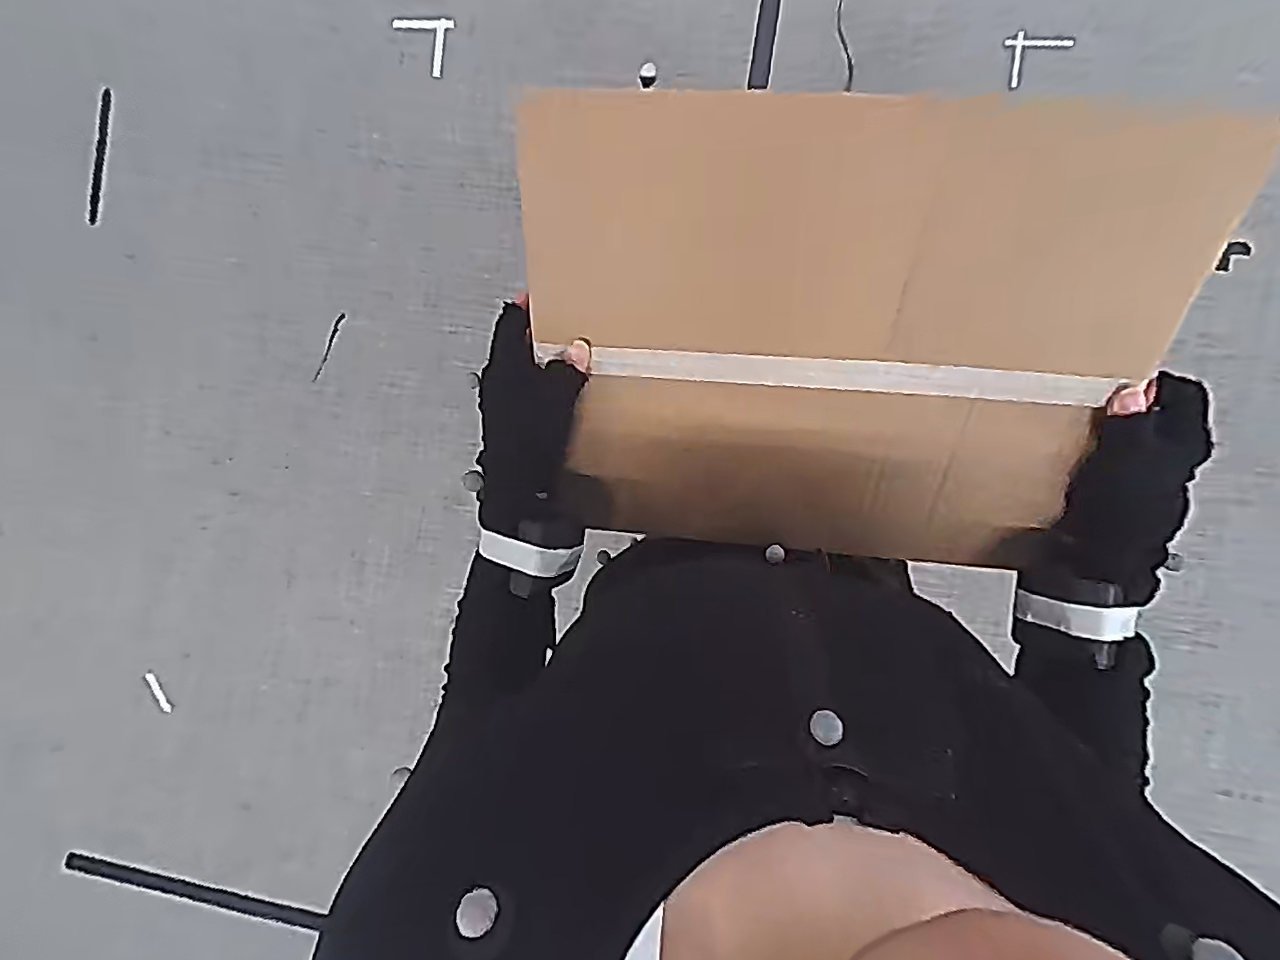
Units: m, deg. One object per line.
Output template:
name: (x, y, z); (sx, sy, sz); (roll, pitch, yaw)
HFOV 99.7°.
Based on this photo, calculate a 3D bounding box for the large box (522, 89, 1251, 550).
large box: (0.140, -0.164, 0.507); (0.408, 0.320, 0.320); (5, 125, 5)
